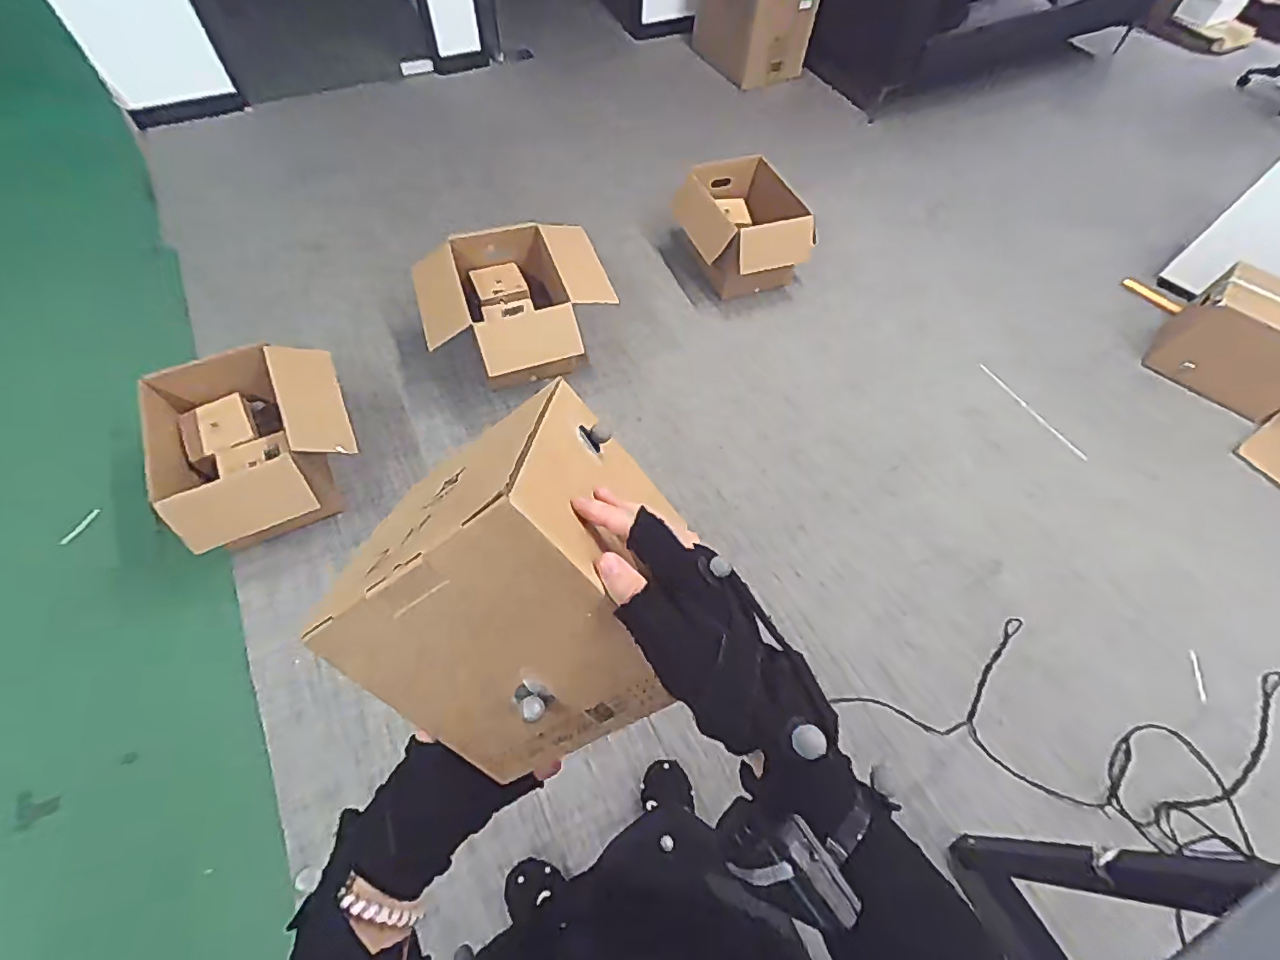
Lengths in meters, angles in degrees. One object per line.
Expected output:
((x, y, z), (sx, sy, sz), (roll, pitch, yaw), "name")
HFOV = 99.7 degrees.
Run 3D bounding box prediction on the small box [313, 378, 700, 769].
((-0.072, 0.061, 0.386), (0.168, 0.176, 0.179), (-33, 23, 18), "small box")
